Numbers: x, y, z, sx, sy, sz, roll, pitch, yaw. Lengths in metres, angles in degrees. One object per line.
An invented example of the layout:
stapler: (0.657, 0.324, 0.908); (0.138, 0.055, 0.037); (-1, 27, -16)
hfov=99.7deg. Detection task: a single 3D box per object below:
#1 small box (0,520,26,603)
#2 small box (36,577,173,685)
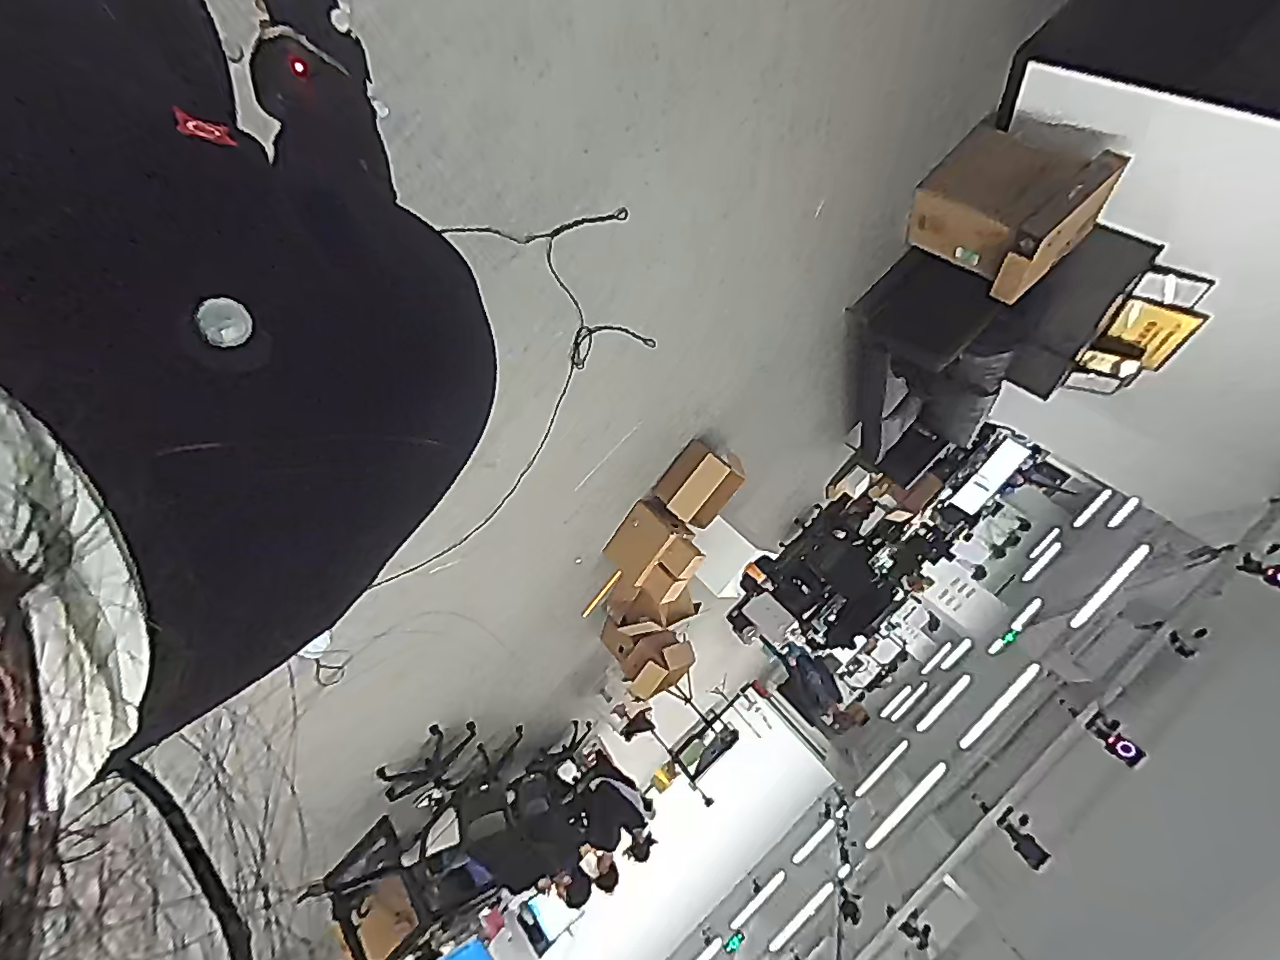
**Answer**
small box: (-1.478, 0.188, 1.153); (0.179, 0.176, 0.168); (-48, 151, 2)
small box: (-1.281, 0.362, 1.292); (0.179, 0.176, 0.168); (-45, 153, -2)
